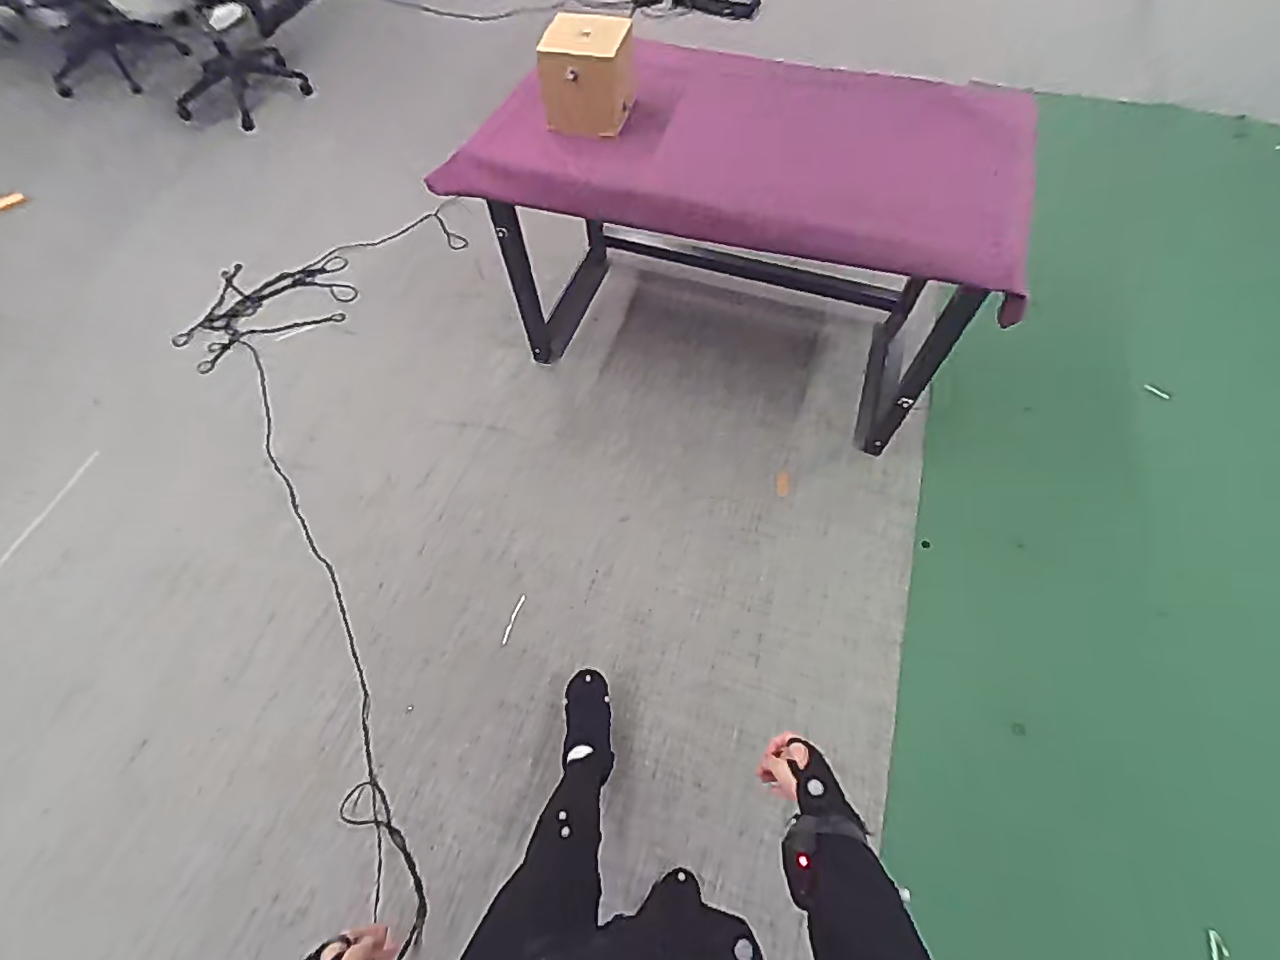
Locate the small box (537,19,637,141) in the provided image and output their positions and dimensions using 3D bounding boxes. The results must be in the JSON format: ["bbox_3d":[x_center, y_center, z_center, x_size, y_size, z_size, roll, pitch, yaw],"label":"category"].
[{"bbox_3d":[-0.112,-0.906,1.231,0.179,0.176,0.168,13,63,8],"label":"small box"}]
